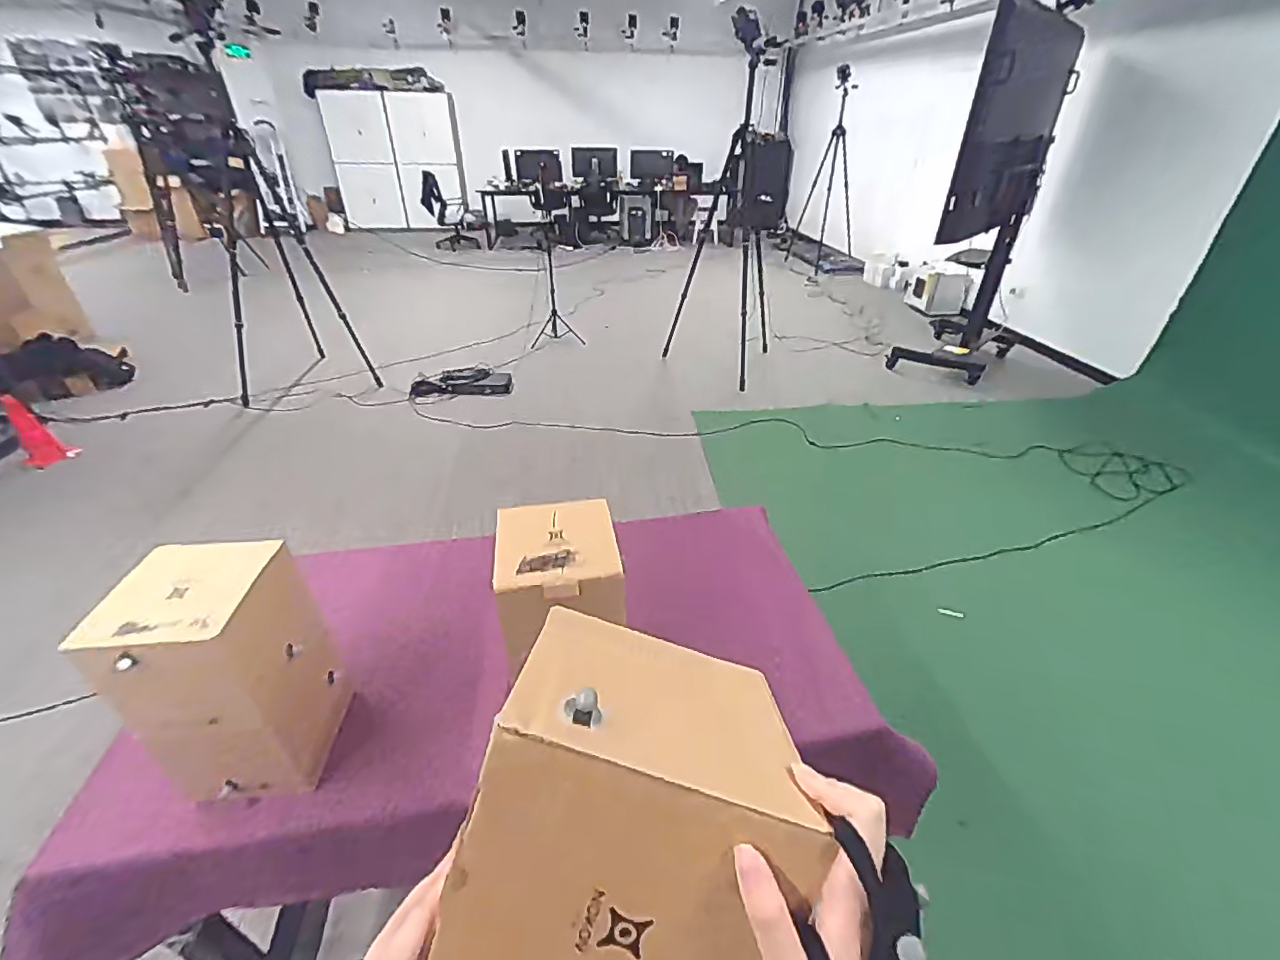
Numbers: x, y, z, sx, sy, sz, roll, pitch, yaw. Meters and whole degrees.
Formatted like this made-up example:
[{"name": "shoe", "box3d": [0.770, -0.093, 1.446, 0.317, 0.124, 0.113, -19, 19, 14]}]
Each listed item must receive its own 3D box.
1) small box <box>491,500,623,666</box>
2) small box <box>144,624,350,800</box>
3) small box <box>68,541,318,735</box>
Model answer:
[{"name": "small box", "box3d": [-0.118, 0.152, 0.792, 0.168, 0.176, 0.179, -6, 32, -9]}, {"name": "small box", "box3d": [-0.558, 0.341, 0.804, 0.168, 0.176, 0.179, -3, 34, -4]}, {"name": "small box", "box3d": [-0.558, 0.203, 0.713, 0.168, 0.176, 0.179, -4, 33, -4]}]
